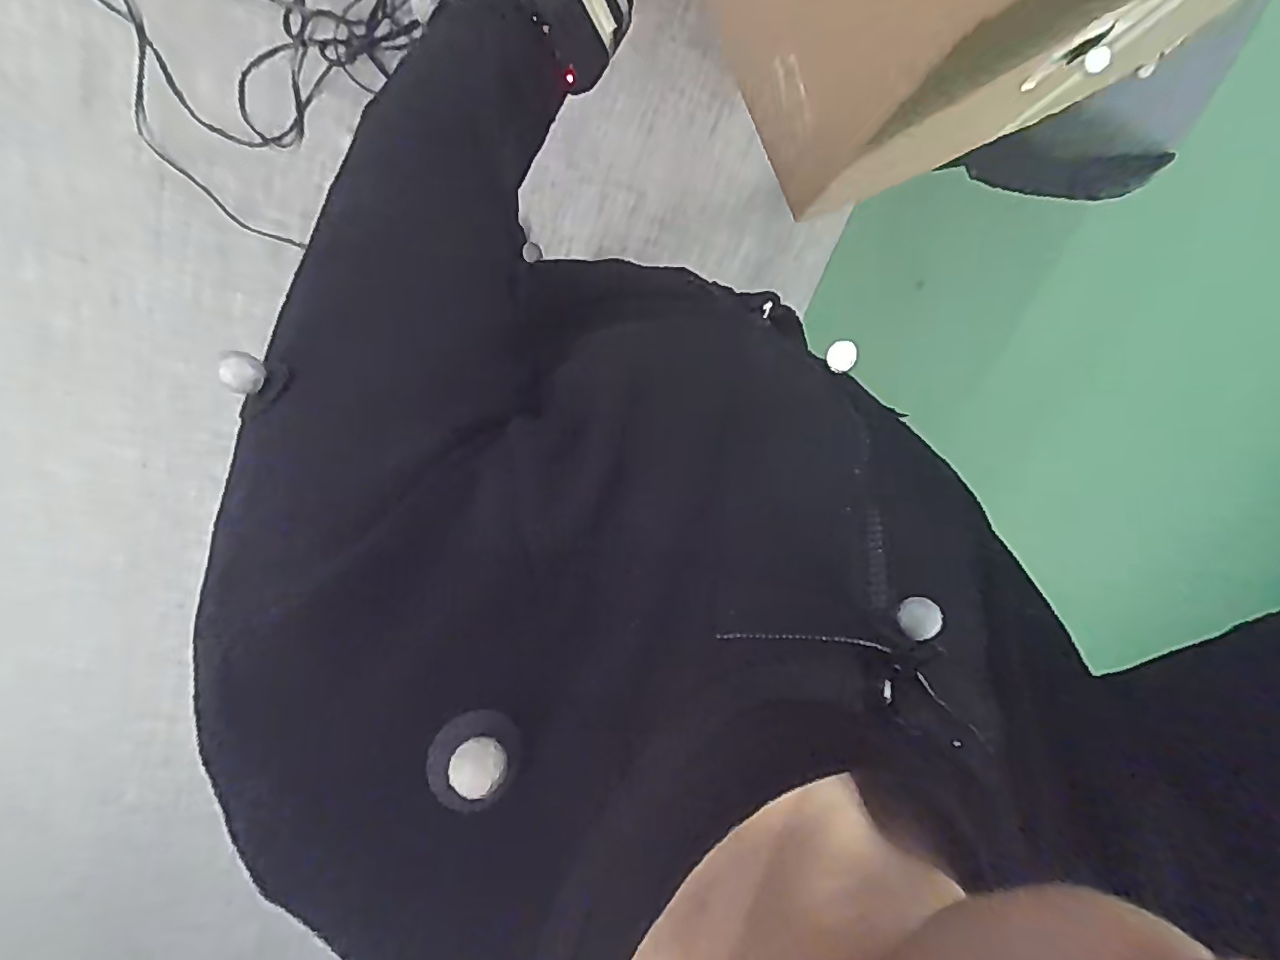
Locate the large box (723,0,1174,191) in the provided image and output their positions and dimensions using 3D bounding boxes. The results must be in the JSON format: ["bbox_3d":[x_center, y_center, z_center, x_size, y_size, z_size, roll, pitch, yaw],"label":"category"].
[{"bbox_3d":[0.200,-0.394,0.195,0.320,0.408,0.320,-26,98,0],"label":"large box"}]
